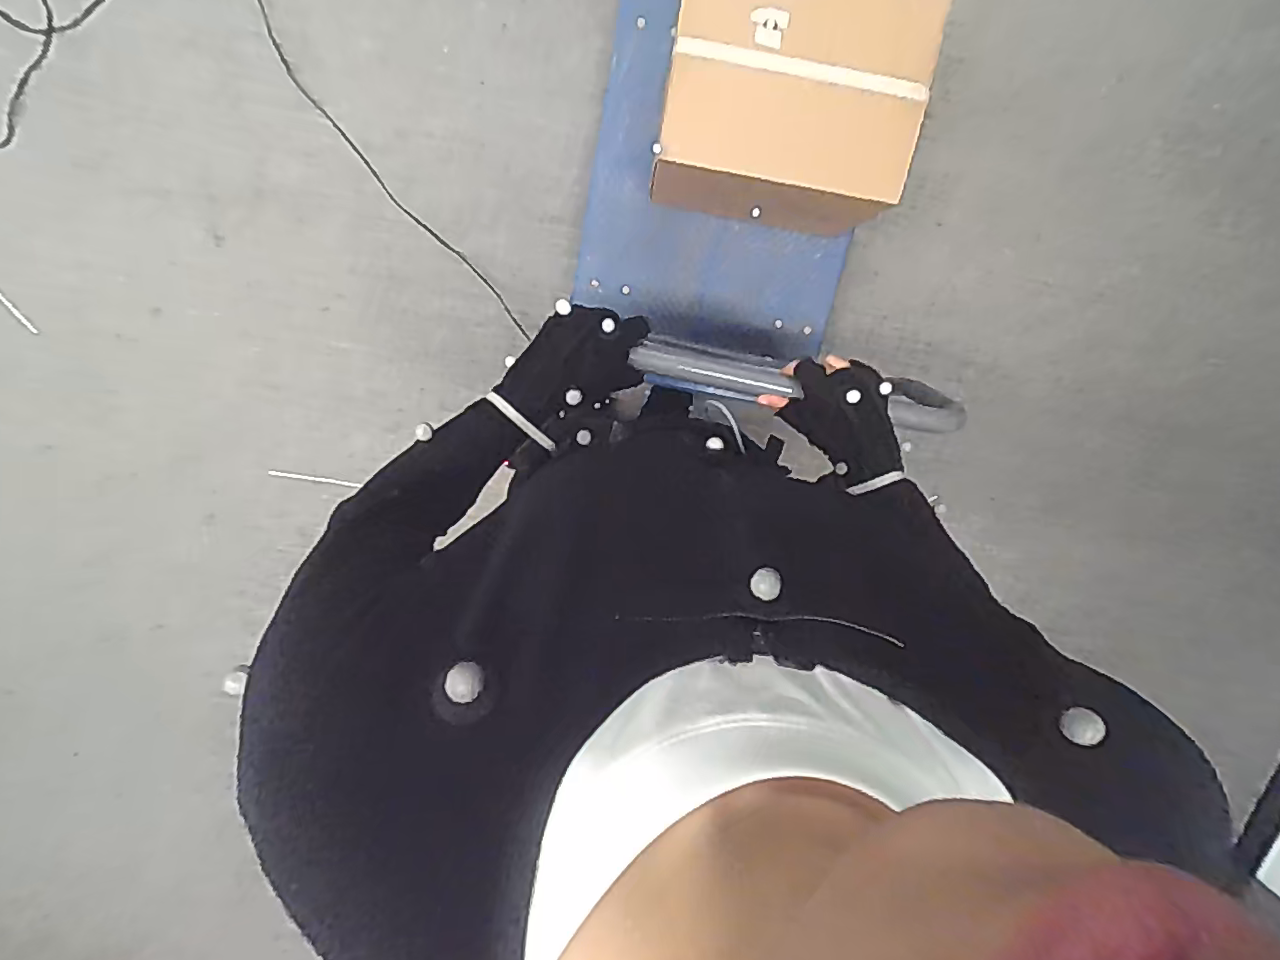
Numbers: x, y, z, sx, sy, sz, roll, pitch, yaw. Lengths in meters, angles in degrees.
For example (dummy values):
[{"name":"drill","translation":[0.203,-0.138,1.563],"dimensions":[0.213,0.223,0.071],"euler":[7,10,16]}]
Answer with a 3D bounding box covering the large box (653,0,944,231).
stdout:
[{"name":"large box","translation":[0.248,-0.671,0.989],"dimensions":[0.408,0.320,0.320],"euler":[9,103,-3]}]
